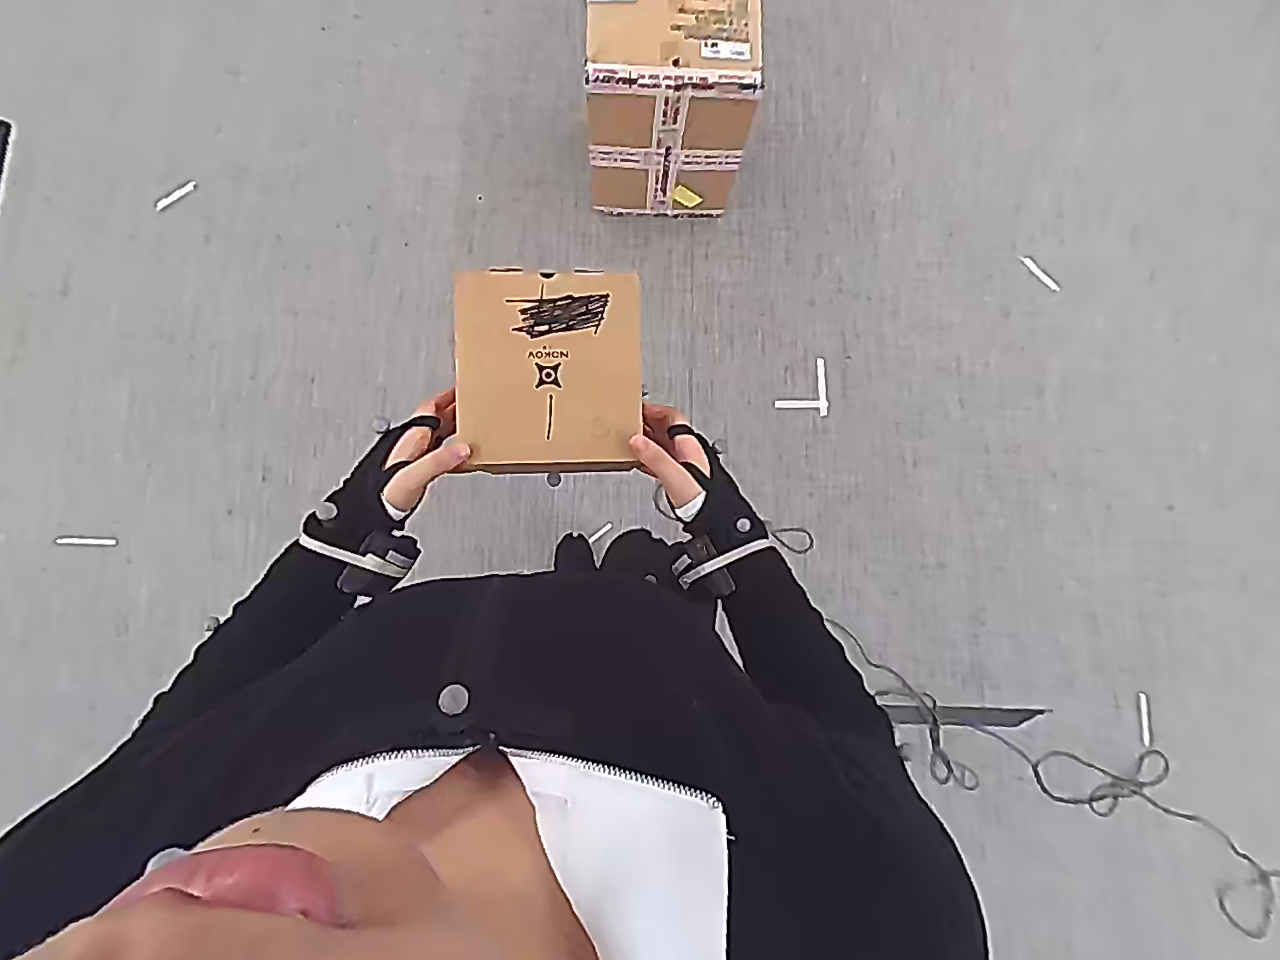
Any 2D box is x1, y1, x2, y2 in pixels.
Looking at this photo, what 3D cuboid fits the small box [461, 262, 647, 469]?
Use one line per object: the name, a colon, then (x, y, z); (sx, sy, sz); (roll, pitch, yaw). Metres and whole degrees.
small box: (-0.084, -0.105, 0.562); (0.168, 0.176, 0.179); (-1, 88, -5)
